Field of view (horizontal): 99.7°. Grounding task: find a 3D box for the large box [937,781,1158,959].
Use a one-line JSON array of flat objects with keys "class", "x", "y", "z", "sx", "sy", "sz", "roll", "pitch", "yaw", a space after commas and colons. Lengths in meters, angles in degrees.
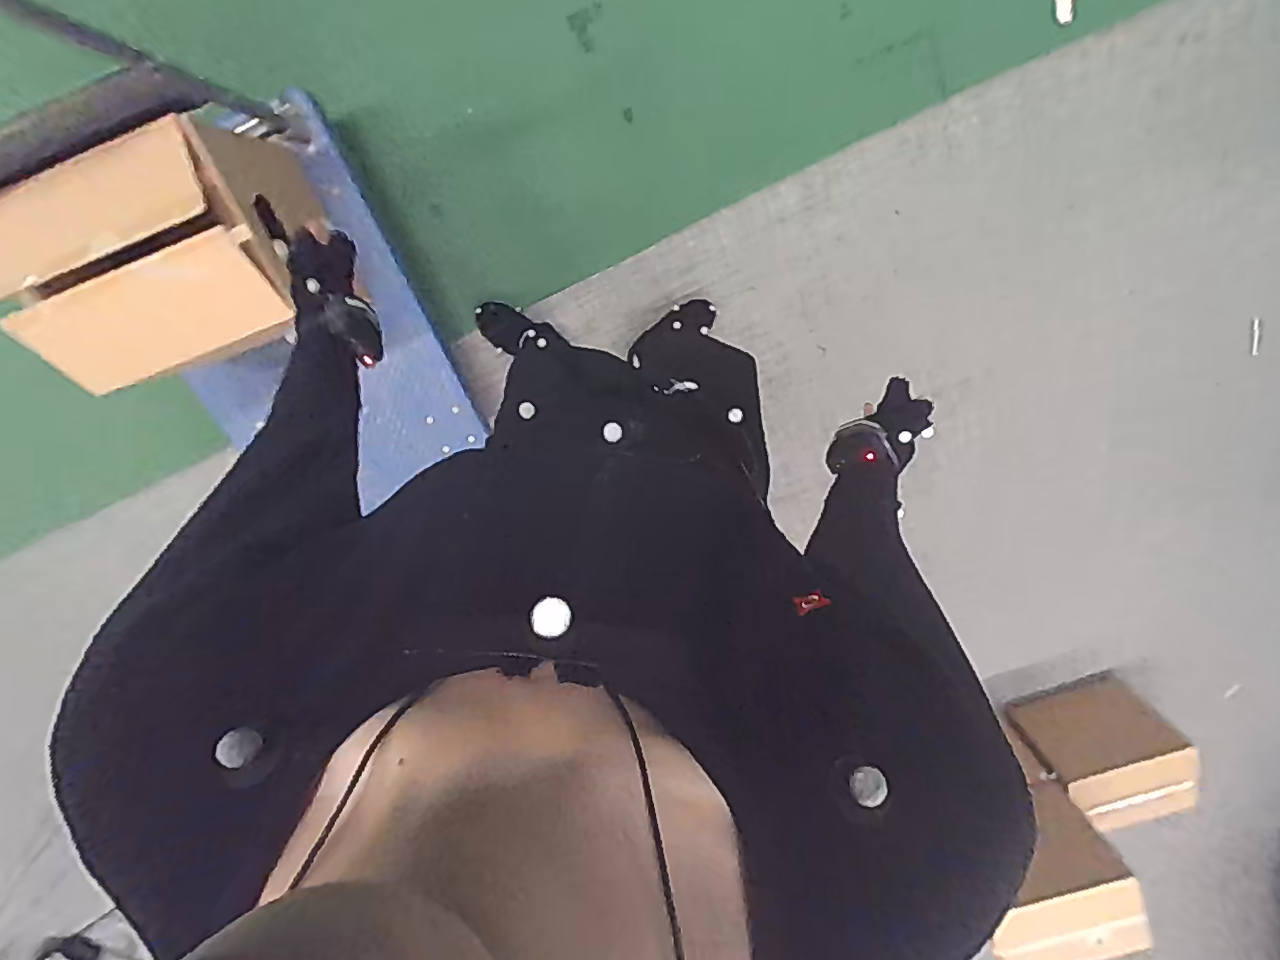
[{"class": "large box", "x": 1.199, "y": 1.197, "z": 1.627, "sx": 0.408, "sy": 0.320, "sz": 0.320, "roll": -23, "pitch": 108, "yaw": 7}]
